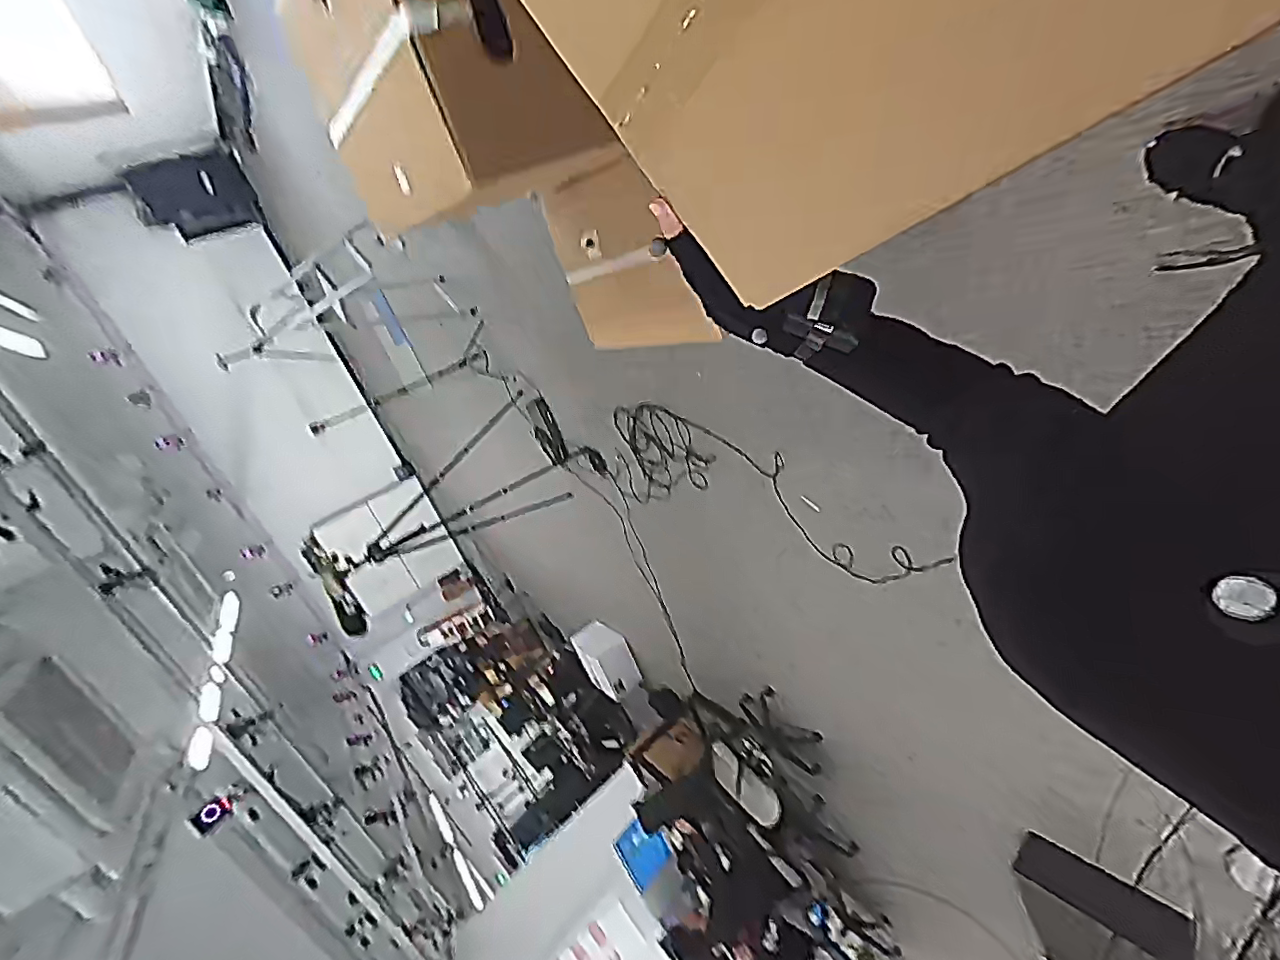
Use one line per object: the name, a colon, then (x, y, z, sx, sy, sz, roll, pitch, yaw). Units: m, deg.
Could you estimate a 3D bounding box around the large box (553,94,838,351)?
large box: (0.100, -0.463, 1.040, 0.408, 0.320, 0.320, 14, 131, 54)
